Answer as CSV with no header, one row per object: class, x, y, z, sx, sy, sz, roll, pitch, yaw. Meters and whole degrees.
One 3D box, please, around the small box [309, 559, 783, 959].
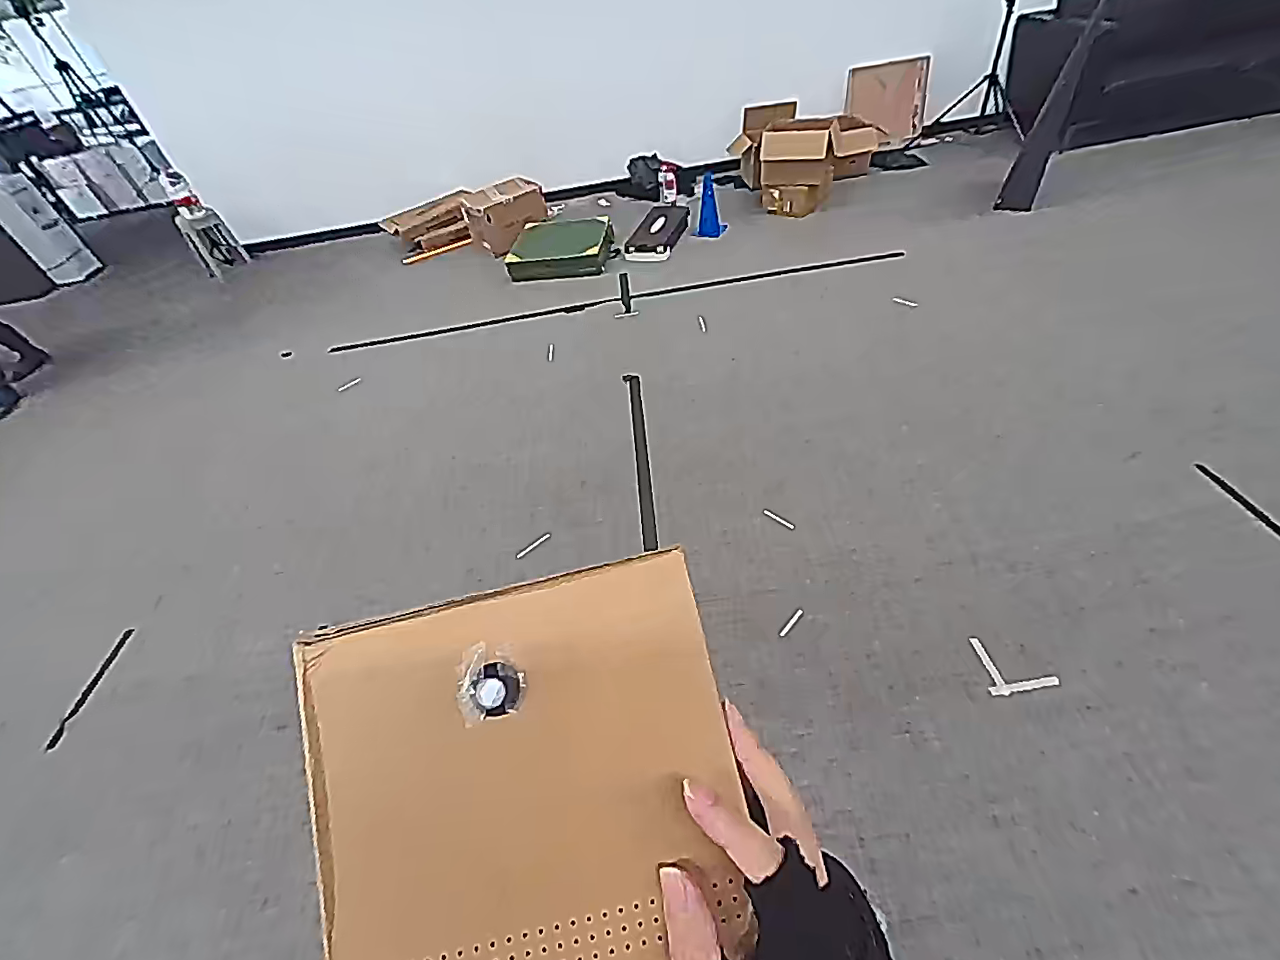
small box,-0.042,0.150,0.300,0.179,0.168,0.176,-13,79,-2
